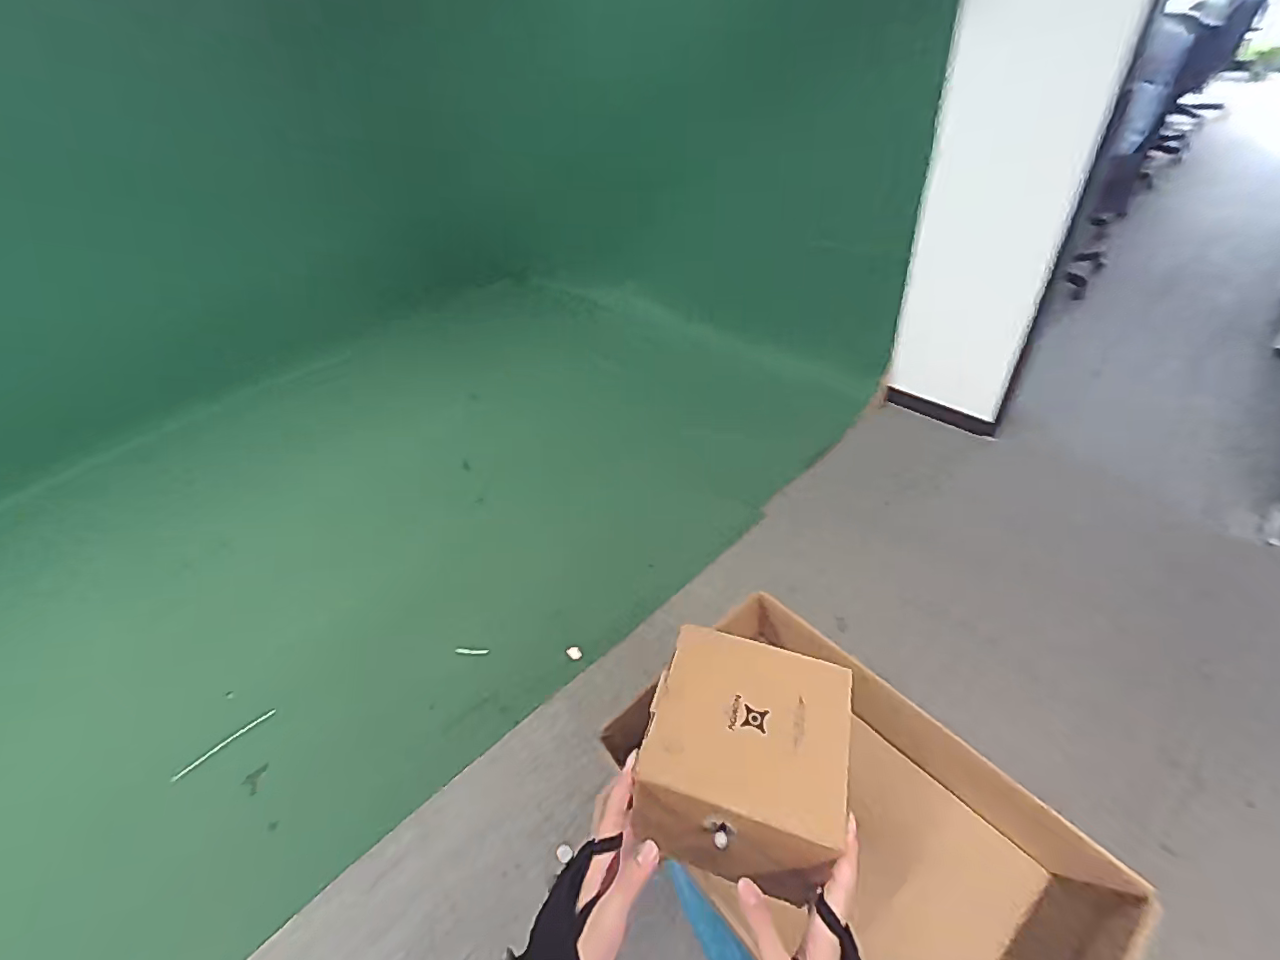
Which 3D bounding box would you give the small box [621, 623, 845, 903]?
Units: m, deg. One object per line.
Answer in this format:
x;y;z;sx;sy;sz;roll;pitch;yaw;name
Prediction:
0.091;0.276;0.535;0.179;0.176;0.168;12;40;15;small box
